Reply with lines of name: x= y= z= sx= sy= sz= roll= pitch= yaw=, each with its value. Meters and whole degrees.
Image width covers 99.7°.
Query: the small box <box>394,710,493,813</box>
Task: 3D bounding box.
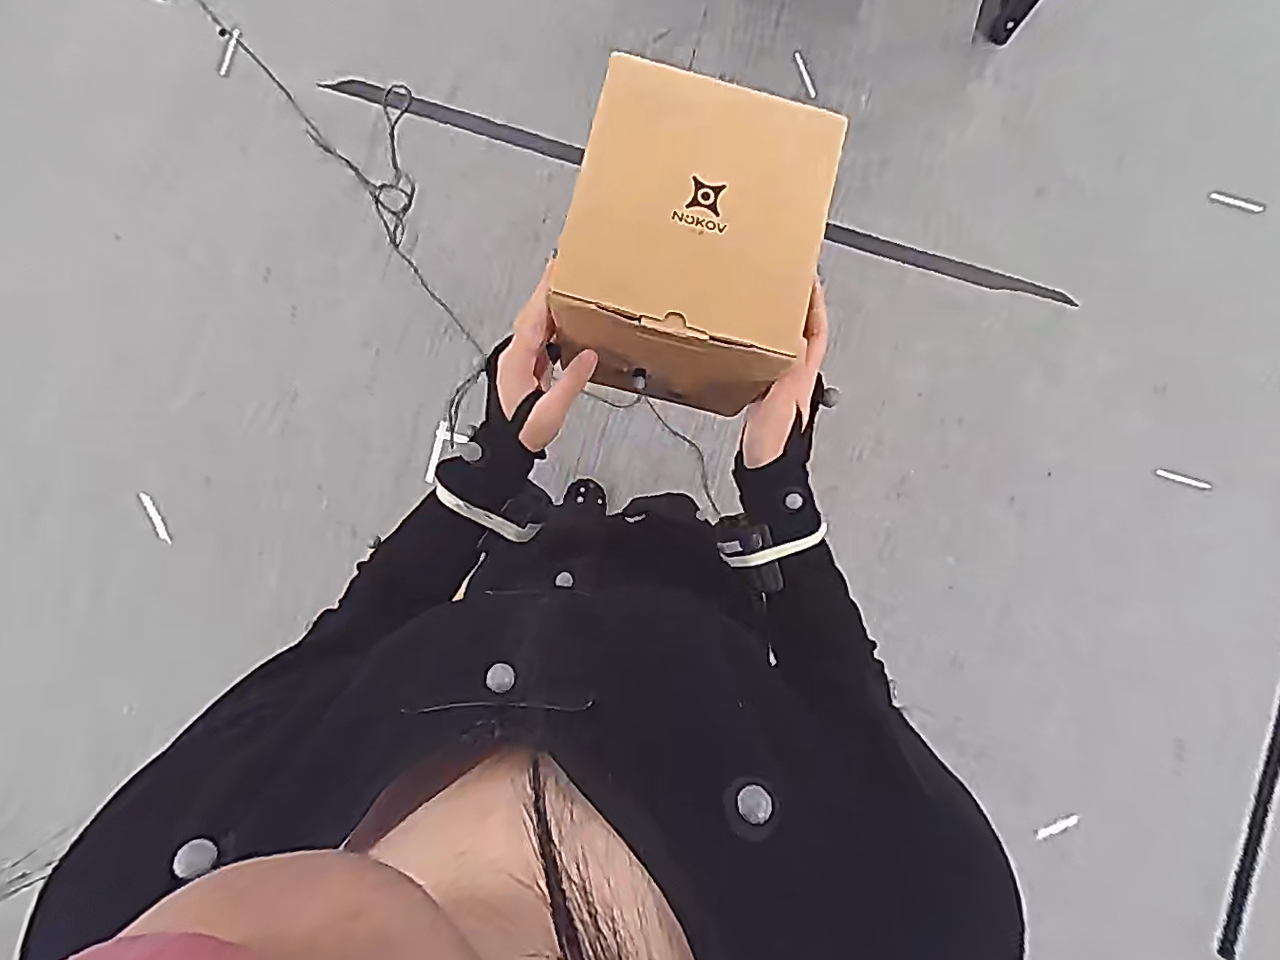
small box: x=-0.489 y=0.702 z=1.368 sx=0.179 sy=0.176 sz=0.168 roll=9 pitch=89 yaw=-1

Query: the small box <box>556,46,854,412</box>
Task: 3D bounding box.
small box: x=0.038 y=-0.171 z=0.424 sx=0.168 sy=0.176 sz=0.179 roll=14 pitch=83 yaw=-3
